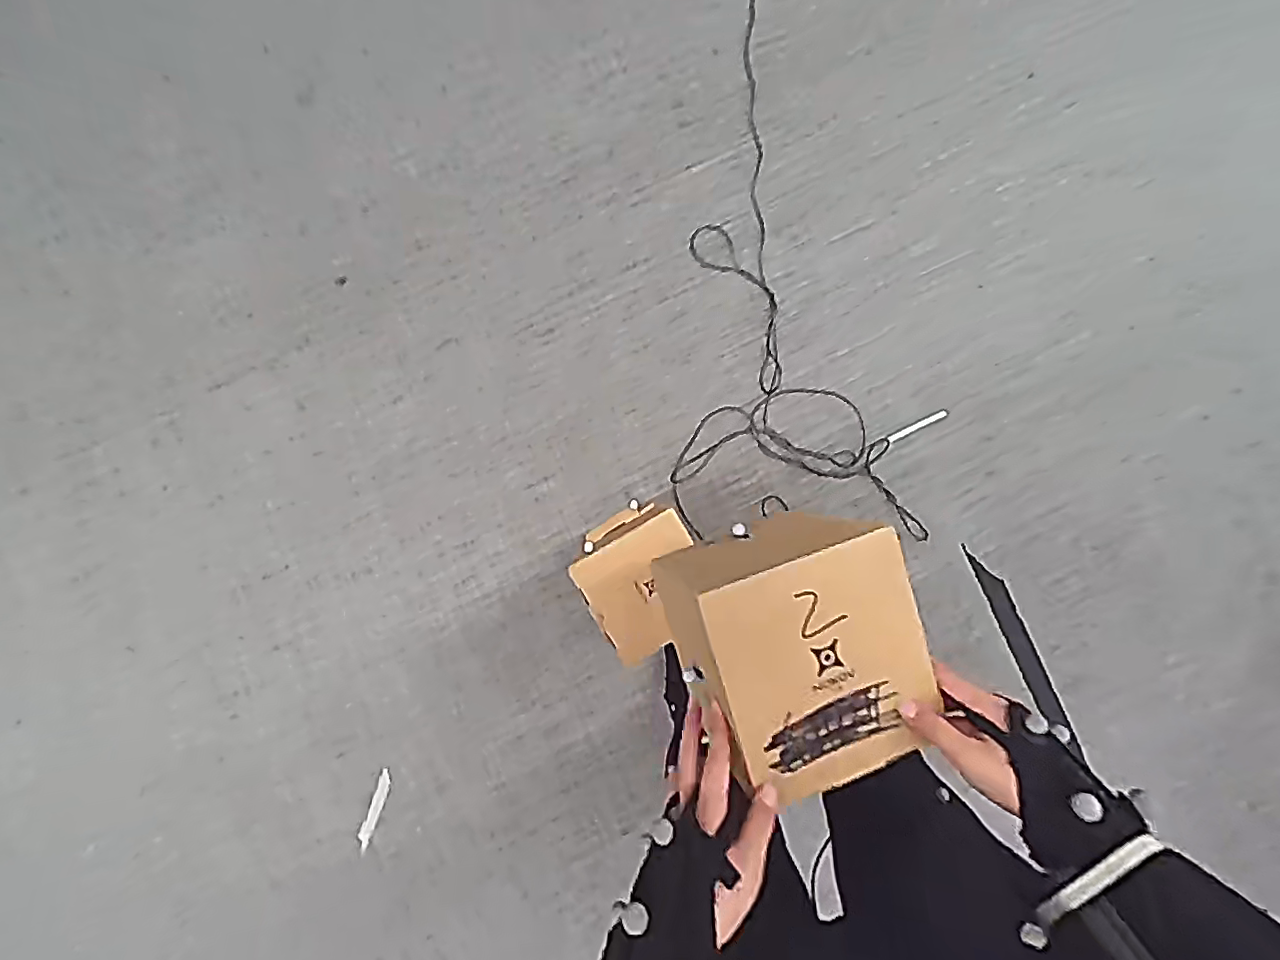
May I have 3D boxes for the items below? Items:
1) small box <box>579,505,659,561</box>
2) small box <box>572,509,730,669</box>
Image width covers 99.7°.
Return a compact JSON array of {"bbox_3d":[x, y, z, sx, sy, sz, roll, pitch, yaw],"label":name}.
[{"bbox_3d":[0.003,0.161,1.007,0.168,0.176,0.179,-33,91,-2],"label":"small box"},{"bbox_3d":[0.012,0.156,0.845,0.179,0.176,0.168,-31,91,-1],"label":"small box"}]
